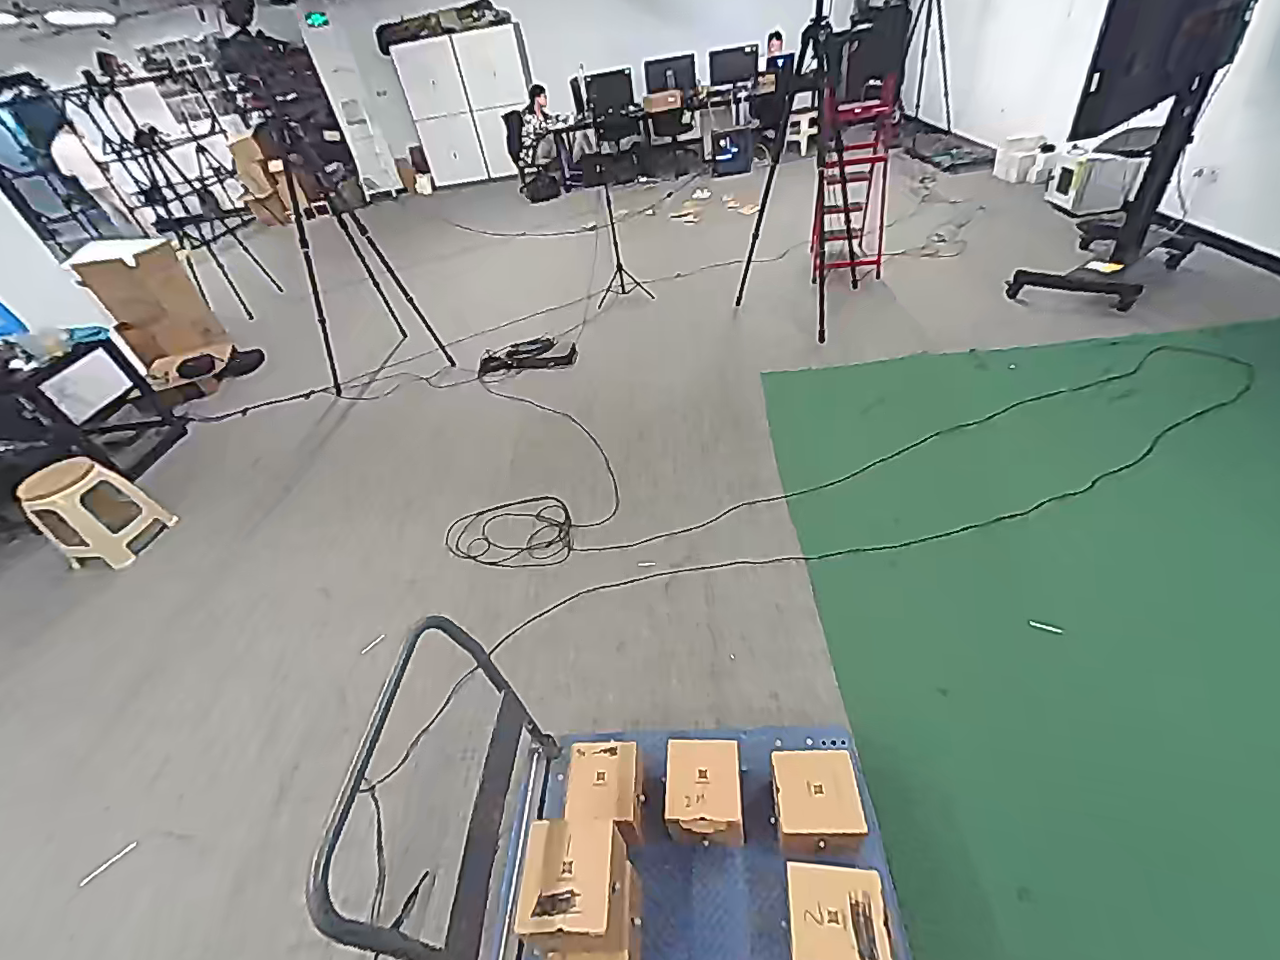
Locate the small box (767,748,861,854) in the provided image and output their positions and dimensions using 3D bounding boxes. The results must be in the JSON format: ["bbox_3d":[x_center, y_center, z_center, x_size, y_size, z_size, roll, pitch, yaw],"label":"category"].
[{"bbox_3d":[0.385,0.728,1.223,0.179,0.176,0.168,-4,41,8],"label":"small box"}]

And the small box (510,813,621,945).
[{"bbox_3d":[-0.132,0.766,1.038,0.168,0.176,0.179,-4,40,6],"label":"small box"}]

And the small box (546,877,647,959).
[{"bbox_3d":[-0.107,0.910,1.131,0.179,0.176,0.168,16,49,30],"label":"small box"}]

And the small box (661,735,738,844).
[{"bbox_3d":[0.145,0.728,1.275,0.168,0.176,0.179,-3,41,10],"label":"small box"}]
